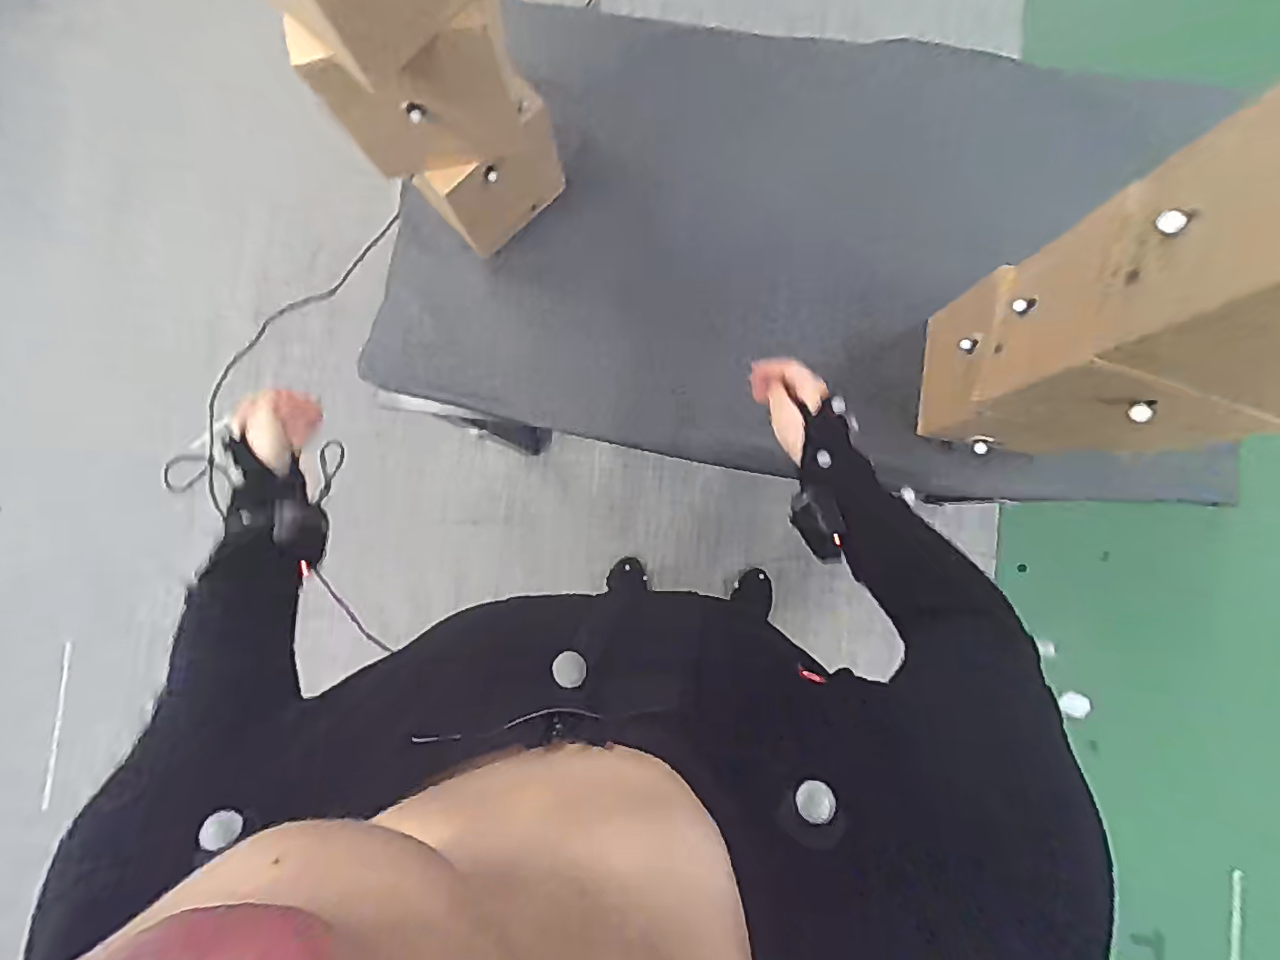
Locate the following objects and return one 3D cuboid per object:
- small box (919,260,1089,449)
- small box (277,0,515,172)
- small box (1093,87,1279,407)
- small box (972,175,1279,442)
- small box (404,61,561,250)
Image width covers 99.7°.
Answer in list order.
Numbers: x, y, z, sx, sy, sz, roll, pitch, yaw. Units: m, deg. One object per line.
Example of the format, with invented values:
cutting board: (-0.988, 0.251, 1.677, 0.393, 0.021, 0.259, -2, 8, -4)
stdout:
small box: (0.473, -0.145, 0.676, 0.168, 0.176, 0.179, 8, 86, 4)
small box: (-0.237, -0.454, 0.553, 0.179, 0.176, 0.168, -11, 87, 1)
small box: (0.462, -0.157, 0.349, 0.179, 0.176, 0.168, 20, 86, 5)
small box: (0.465, -0.142, 0.514, 0.179, 0.176, 0.168, 19, 86, 4)
small box: (-0.230, -0.449, 0.718, 0.168, 0.176, 0.179, -43, 87, -1)
